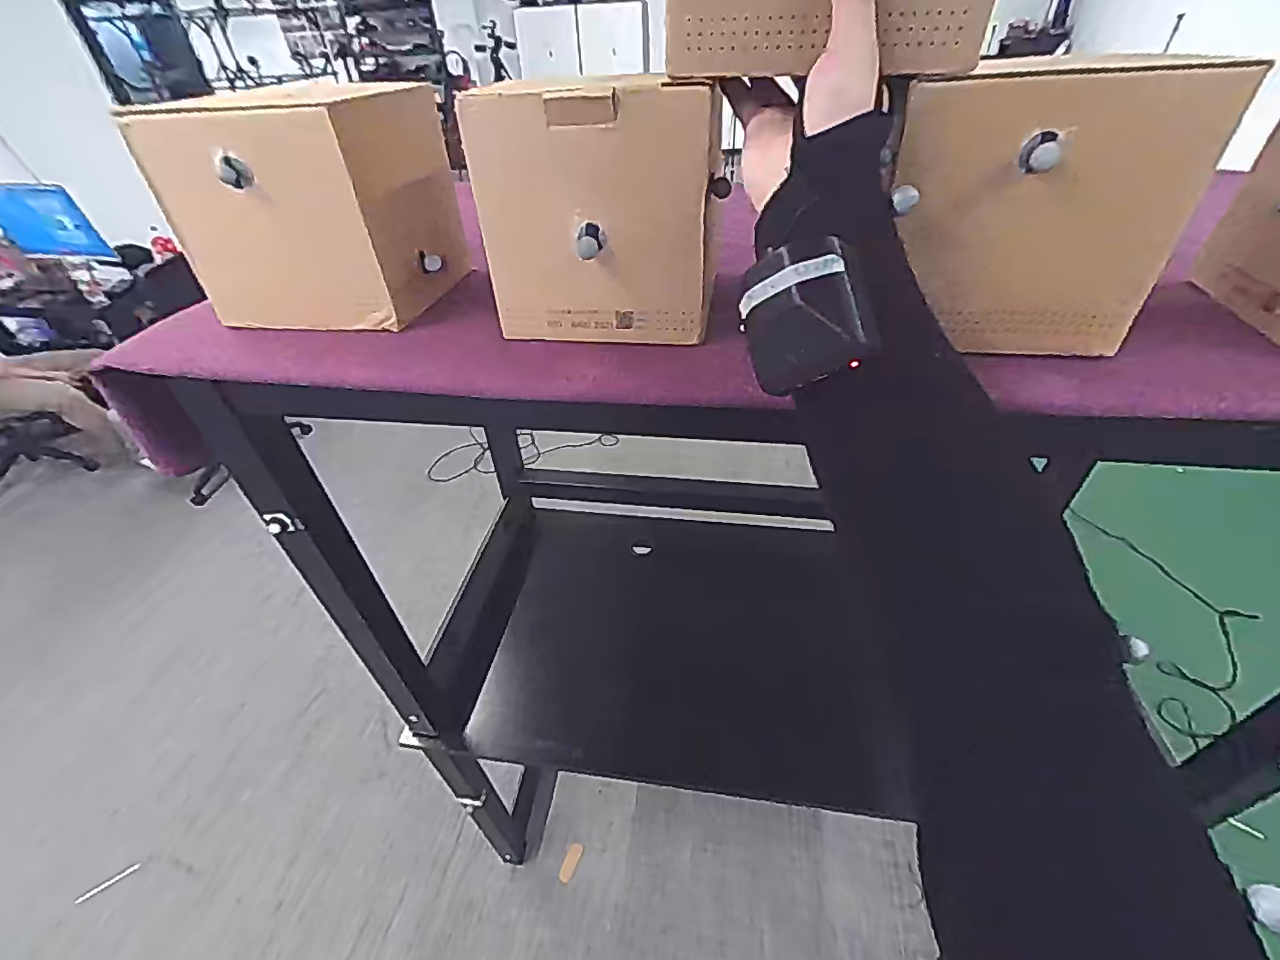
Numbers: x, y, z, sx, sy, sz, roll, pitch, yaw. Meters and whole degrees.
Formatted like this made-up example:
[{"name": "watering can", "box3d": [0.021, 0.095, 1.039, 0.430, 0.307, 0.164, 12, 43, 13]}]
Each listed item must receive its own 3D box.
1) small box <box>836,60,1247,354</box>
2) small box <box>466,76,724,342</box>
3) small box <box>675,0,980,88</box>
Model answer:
[{"name": "small box", "box3d": [0.260, -0.206, 0.413, 0.179, 0.176, 0.168, 4, 39, 10]}, {"name": "small box", "box3d": [-0.018, -0.228, 0.455, 0.168, 0.176, 0.179, 4, 39, 8]}, {"name": "small box", "box3d": [0.115, -0.349, 0.335, 0.179, 0.176, 0.168, 4, 39, 6]}]
